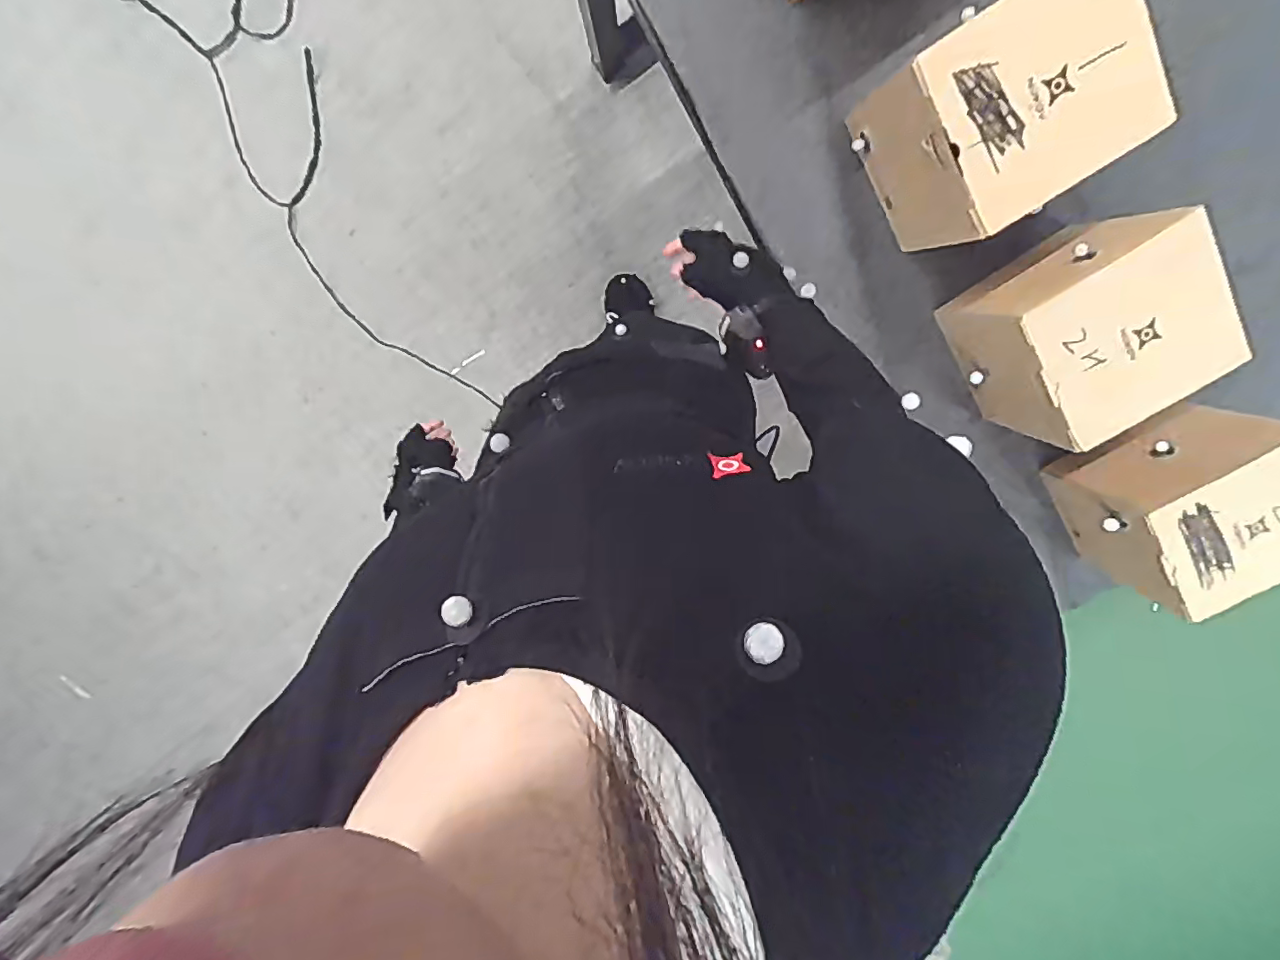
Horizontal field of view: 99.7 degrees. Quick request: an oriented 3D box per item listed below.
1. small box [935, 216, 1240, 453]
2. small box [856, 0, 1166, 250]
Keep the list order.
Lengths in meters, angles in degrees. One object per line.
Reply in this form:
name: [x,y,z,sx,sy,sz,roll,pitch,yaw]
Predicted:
small box: [0.477,-0.161,0.602,0.179,0.176,0.168,-33,105,10]
small box: [0.341,-0.351,0.538,0.179,0.176,0.168,-31,106,9]
